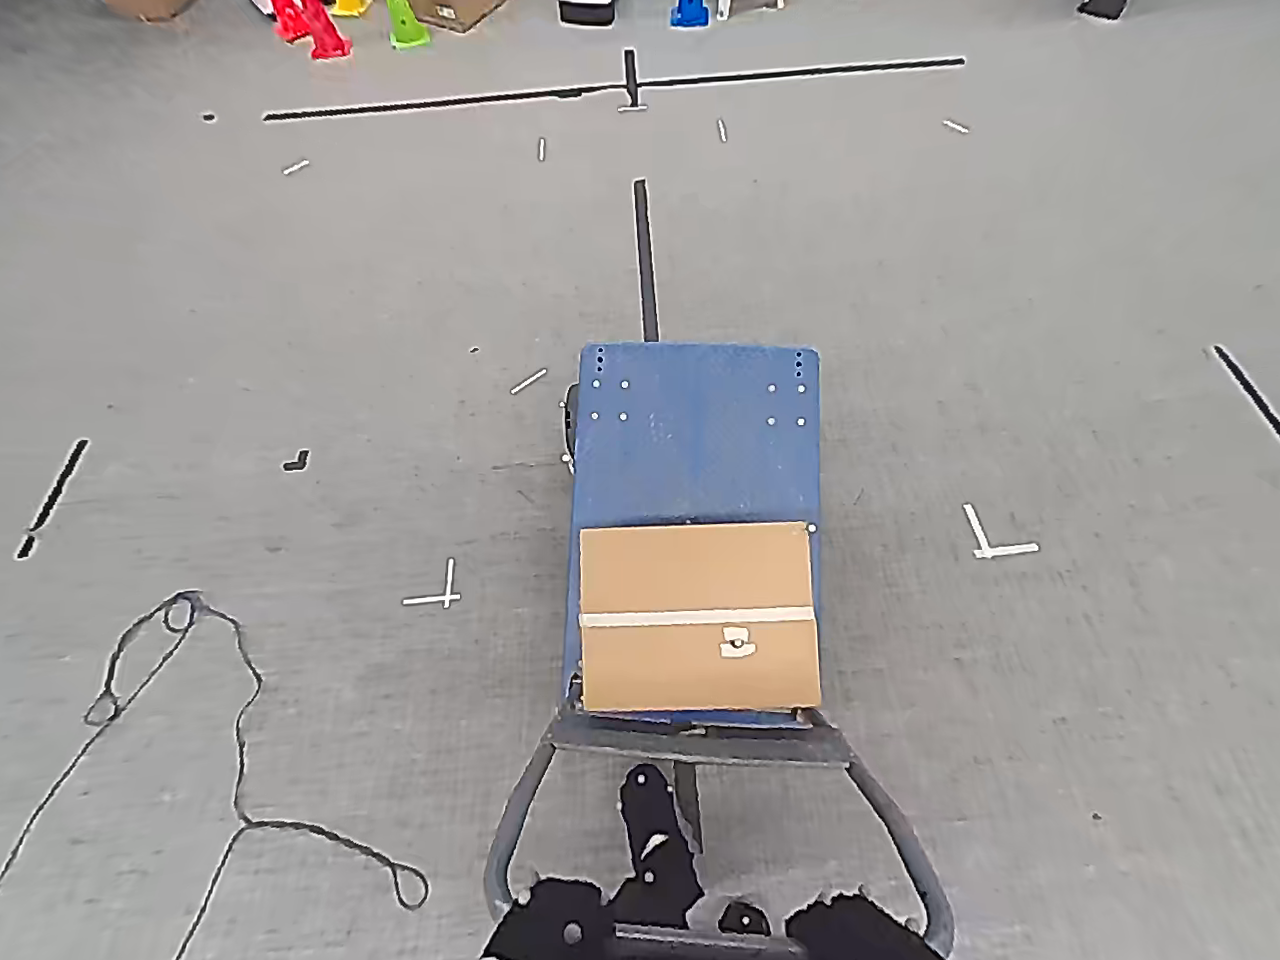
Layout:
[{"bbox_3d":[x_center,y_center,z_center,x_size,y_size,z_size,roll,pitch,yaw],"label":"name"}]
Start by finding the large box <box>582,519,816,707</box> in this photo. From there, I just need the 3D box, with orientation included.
[{"bbox_3d":[0.103,0.254,1.106,0.408,0.320,0.320,-3,83,1],"label":"large box"}]
